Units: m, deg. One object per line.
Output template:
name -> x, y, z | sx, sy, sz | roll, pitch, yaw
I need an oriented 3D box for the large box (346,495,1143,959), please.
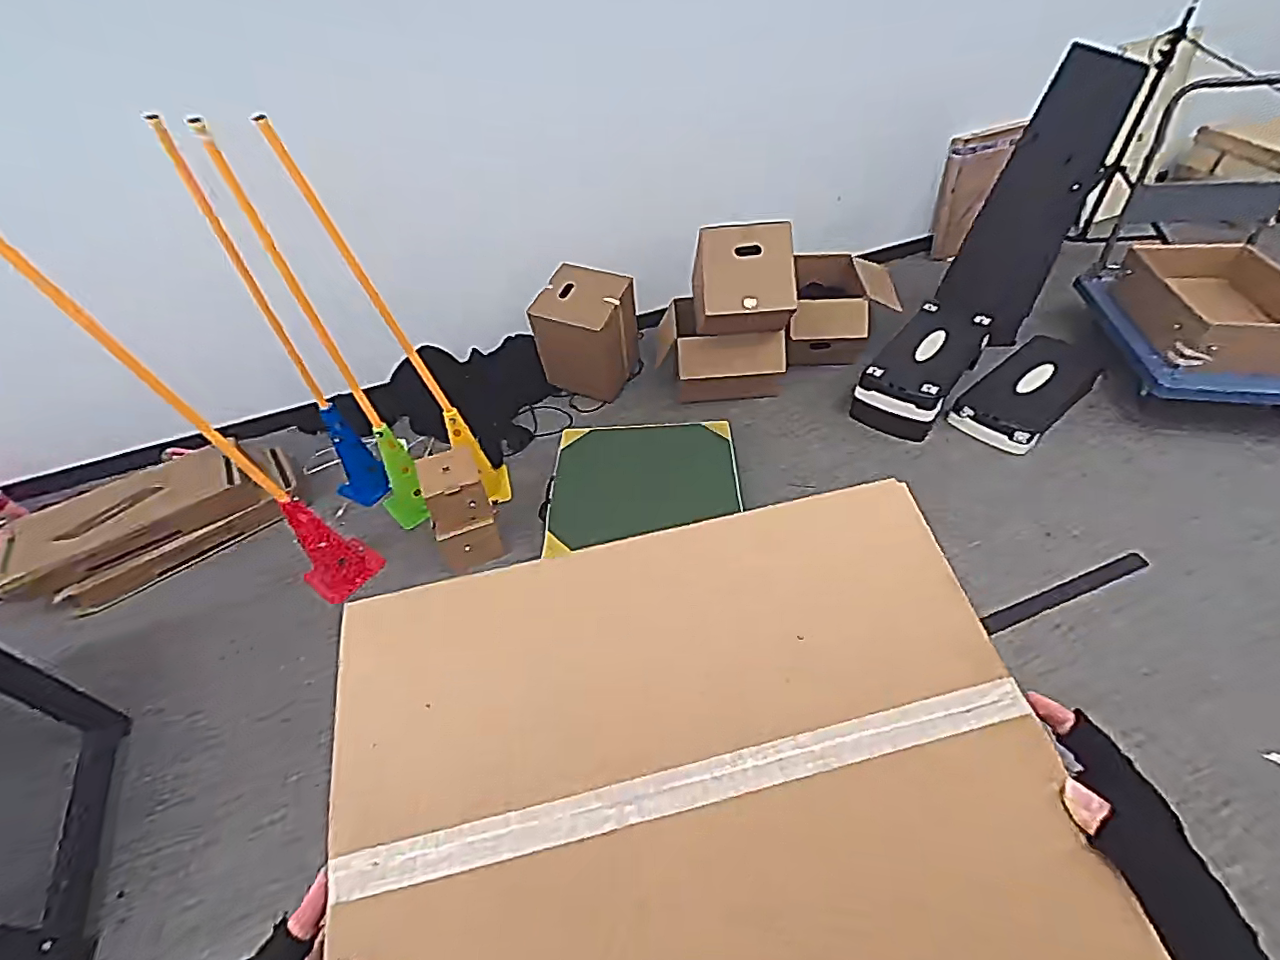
large box -> 0.040, 0.254, 0.445 | 0.408, 0.320, 0.320 | -13, 59, -4
